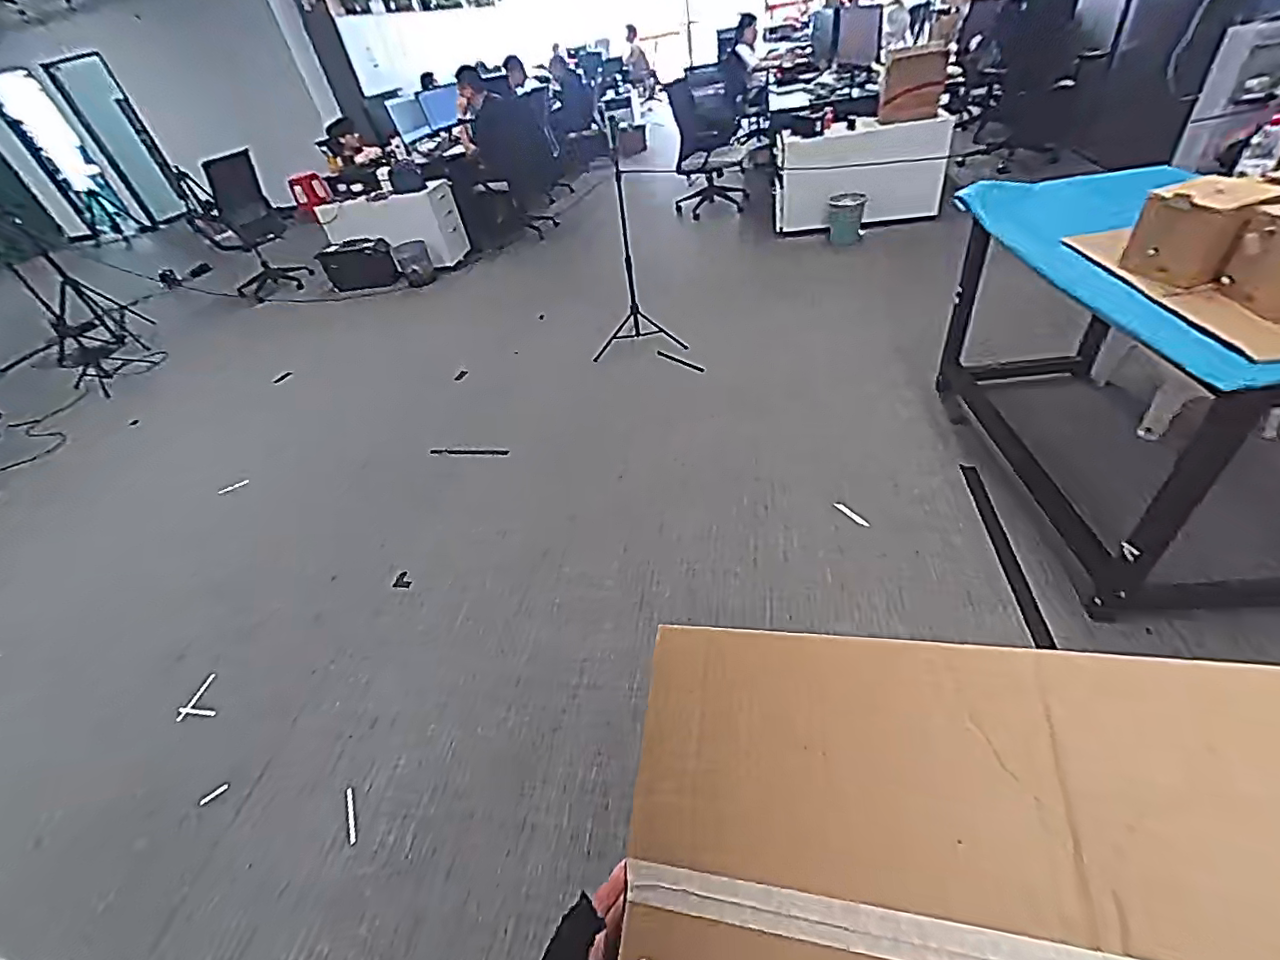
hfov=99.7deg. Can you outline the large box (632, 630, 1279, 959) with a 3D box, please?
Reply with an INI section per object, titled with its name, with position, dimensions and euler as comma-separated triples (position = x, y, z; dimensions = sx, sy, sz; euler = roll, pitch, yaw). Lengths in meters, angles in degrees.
[large box]
position = 0.229, 0.317, 0.397
dimensions = 0.408, 0.320, 0.320
euler = -1, 59, 18
